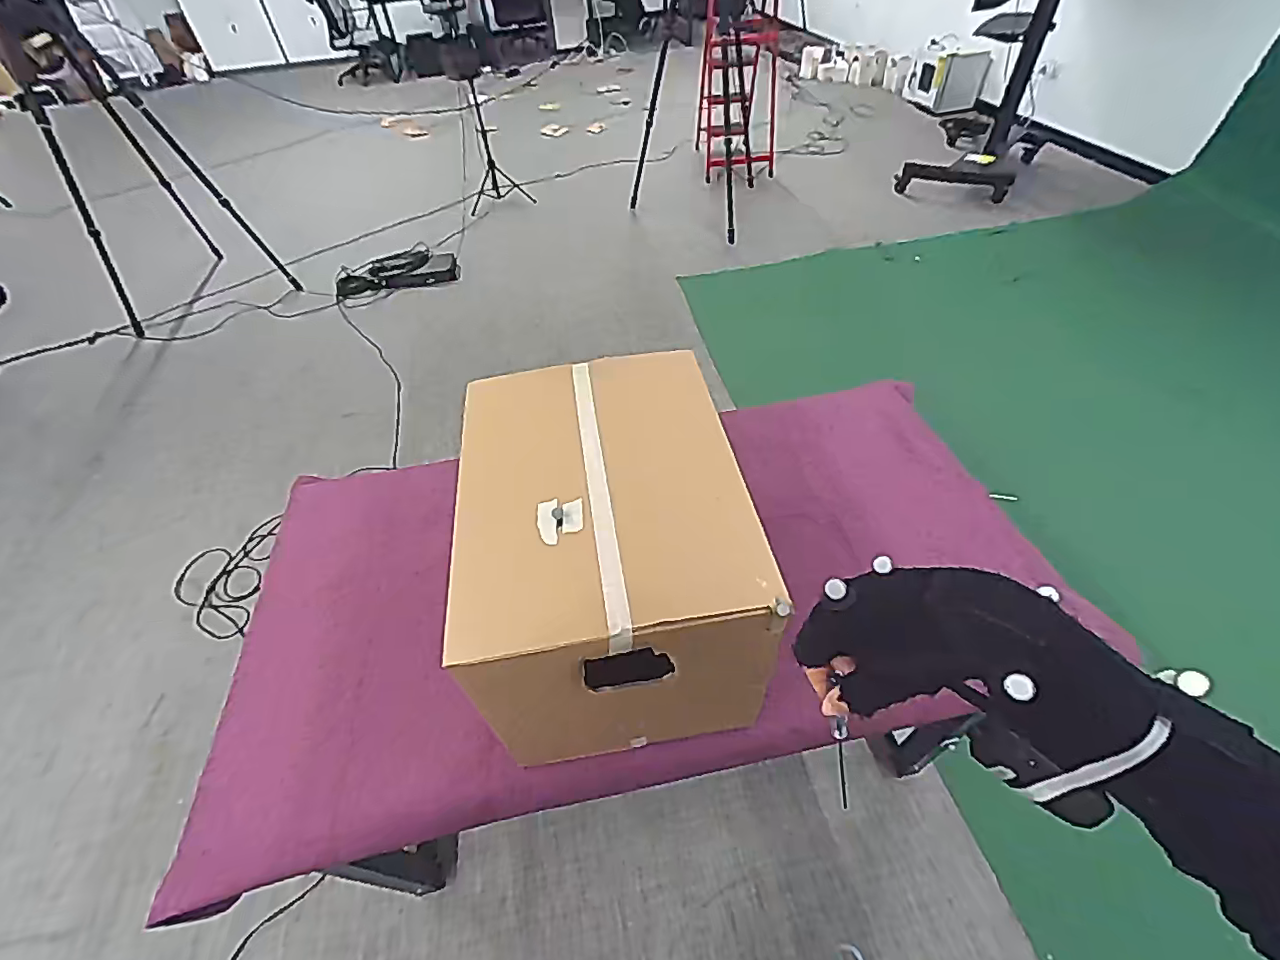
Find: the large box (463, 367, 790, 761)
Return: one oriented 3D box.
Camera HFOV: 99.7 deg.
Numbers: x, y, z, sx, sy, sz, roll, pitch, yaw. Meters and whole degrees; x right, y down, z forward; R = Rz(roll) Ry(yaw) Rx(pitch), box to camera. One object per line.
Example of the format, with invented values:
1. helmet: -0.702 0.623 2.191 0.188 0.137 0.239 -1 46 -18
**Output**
1. large box: -0.036 0.103 0.733 0.320 0.320 0.408 -9 48 -4
